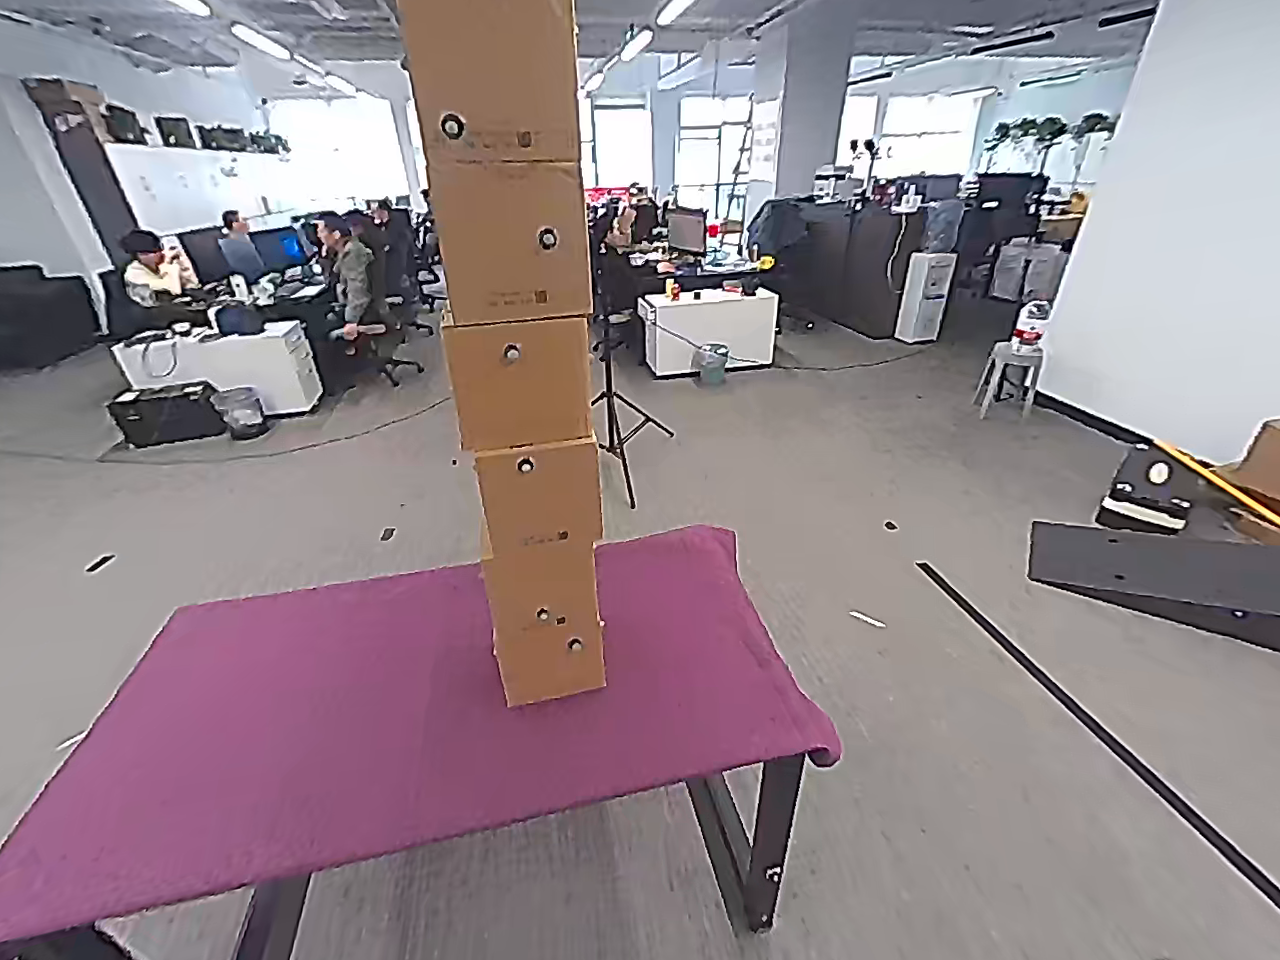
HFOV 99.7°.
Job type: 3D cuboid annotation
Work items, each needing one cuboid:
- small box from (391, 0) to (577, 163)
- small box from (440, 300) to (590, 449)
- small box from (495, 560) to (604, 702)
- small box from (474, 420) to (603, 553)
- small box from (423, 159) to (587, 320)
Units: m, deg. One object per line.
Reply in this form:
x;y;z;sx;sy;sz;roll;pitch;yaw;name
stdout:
-0.166;-0.448;0.603;0.168;0.176;0.179;-8;30;-12;small box
-0.168;-0.158;0.755;0.179;0.176;0.168;-9;31;-12;small box
-0.164;0.273;0.988;0.179;0.176;0.168;-9;30;-11;small box
-0.154;-0.012;0.827;0.168;0.176;0.179;-9;30;-11;small box
-0.164;-0.301;0.678;0.168;0.176;0.179;-9;30;-14;small box
